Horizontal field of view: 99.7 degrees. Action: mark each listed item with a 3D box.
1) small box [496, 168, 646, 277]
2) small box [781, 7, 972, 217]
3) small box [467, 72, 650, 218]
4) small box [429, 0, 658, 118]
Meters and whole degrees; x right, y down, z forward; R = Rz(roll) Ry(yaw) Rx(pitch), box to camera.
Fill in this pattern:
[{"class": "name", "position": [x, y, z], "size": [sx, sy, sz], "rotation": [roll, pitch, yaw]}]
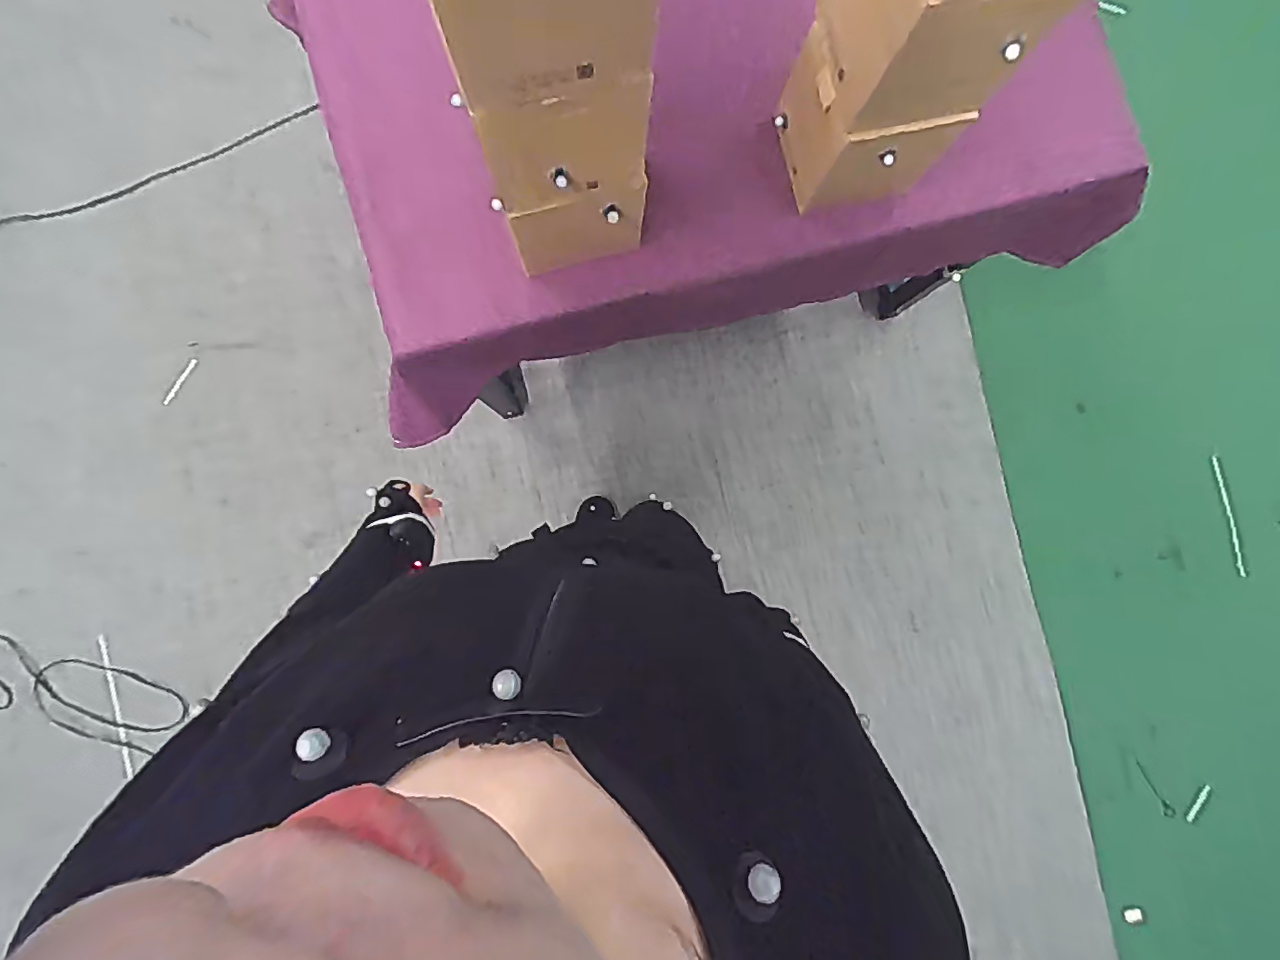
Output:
[{"class": "small box", "position": [-0.102, -0.399, 0.724], "size": [0.179, 0.176, 0.168], "rotation": [-16, 88, -4]}, {"class": "small box", "position": [0.310, -0.495, 0.753], "size": [0.179, 0.176, 0.168], "rotation": [-13, 88, -4]}, {"class": "small box", "position": [-0.096, -0.411, 0.562], "size": [0.168, 0.176, 0.179], "rotation": [-16, 89, -4]}, {"class": "small box", "position": [-0.086, -0.418, 0.398], "size": [0.168, 0.176, 0.179], "rotation": [-15, 88, -4]}]
